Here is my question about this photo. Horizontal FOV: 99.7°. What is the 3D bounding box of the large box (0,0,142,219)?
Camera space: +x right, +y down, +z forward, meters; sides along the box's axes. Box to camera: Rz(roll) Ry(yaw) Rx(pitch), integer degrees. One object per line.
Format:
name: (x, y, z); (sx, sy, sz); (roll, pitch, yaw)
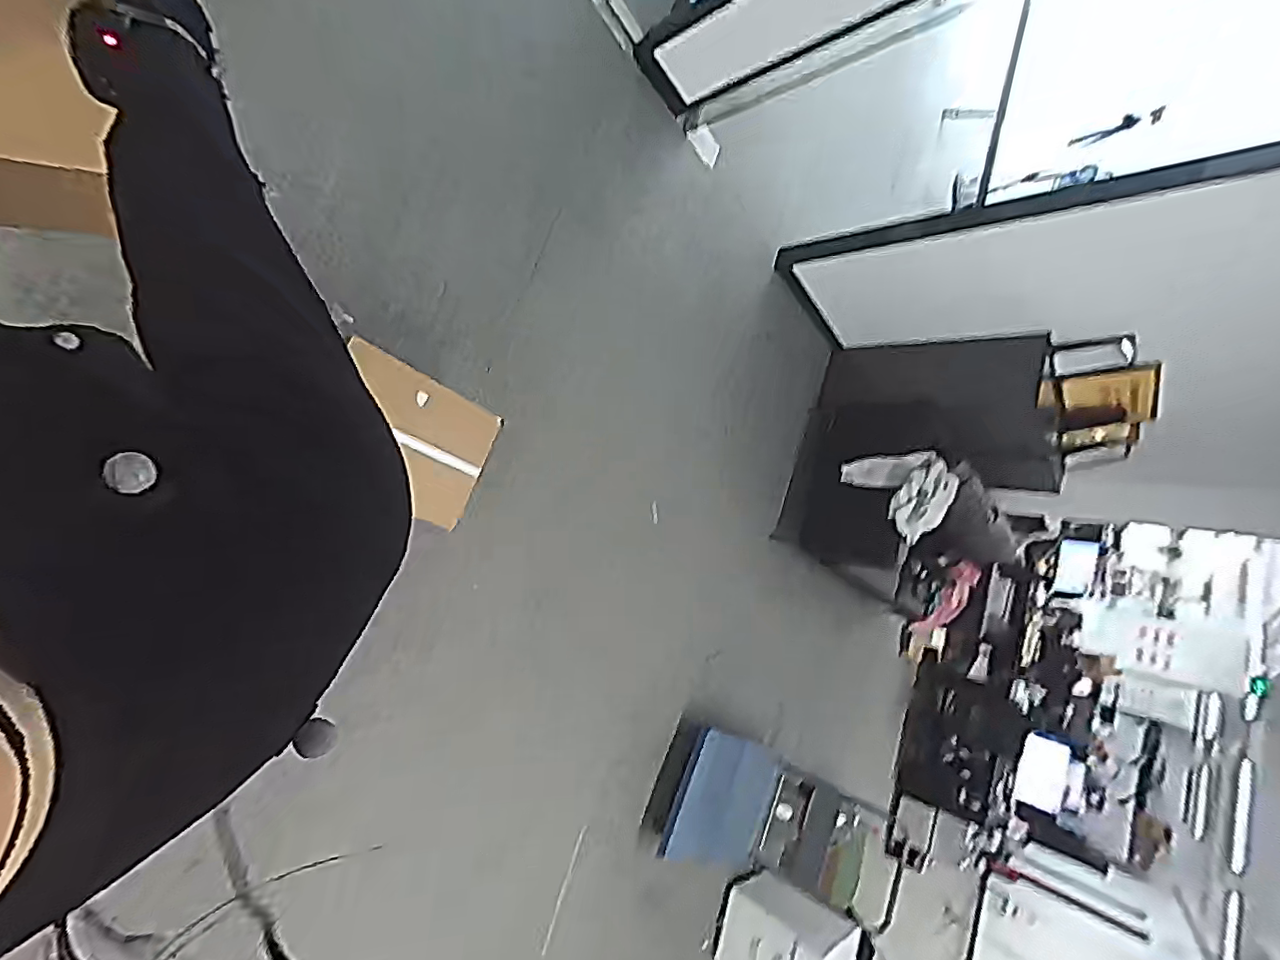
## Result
large box: (-0.738, -0.426, 0.453); (0.408, 0.320, 0.320); (-18, 110, -45)
